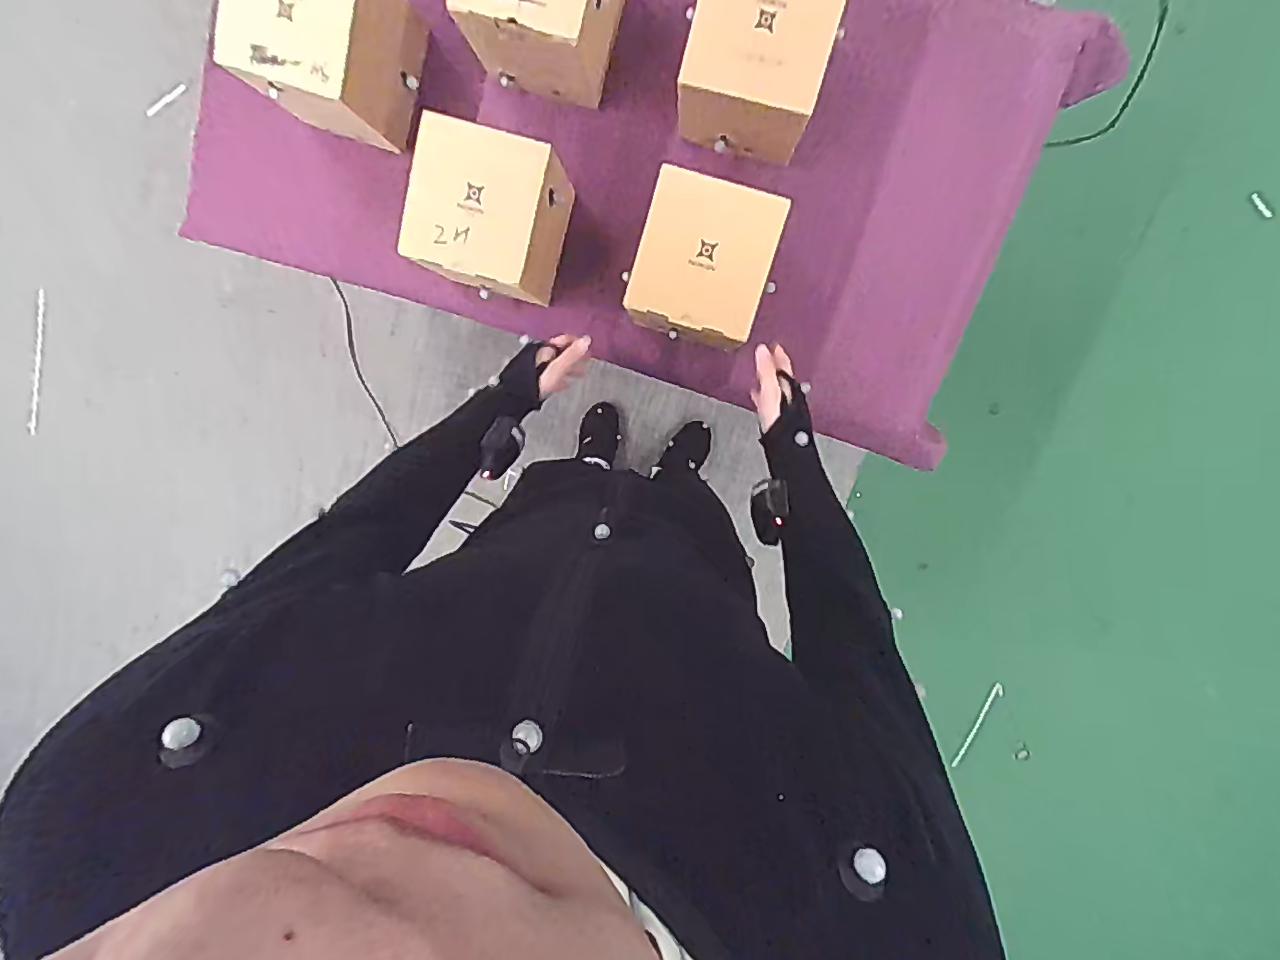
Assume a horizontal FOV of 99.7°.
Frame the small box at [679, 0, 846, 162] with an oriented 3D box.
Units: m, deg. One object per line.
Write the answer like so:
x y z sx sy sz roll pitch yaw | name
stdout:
0.150 -0.549 0.695 0.168 0.176 0.179 16 103 1 | small box

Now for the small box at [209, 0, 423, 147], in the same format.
-0.413 -0.589 0.717 0.168 0.176 0.179 19 101 1 | small box

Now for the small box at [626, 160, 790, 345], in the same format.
0.086 -0.298 0.747 0.168 0.176 0.179 16 101 1 | small box

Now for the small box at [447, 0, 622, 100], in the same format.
-0.121 -0.634 0.693 0.168 0.176 0.179 16 101 0 | small box

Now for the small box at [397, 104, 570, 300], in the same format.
-0.203 -0.367 0.749 0.168 0.176 0.179 16 101 1 | small box
